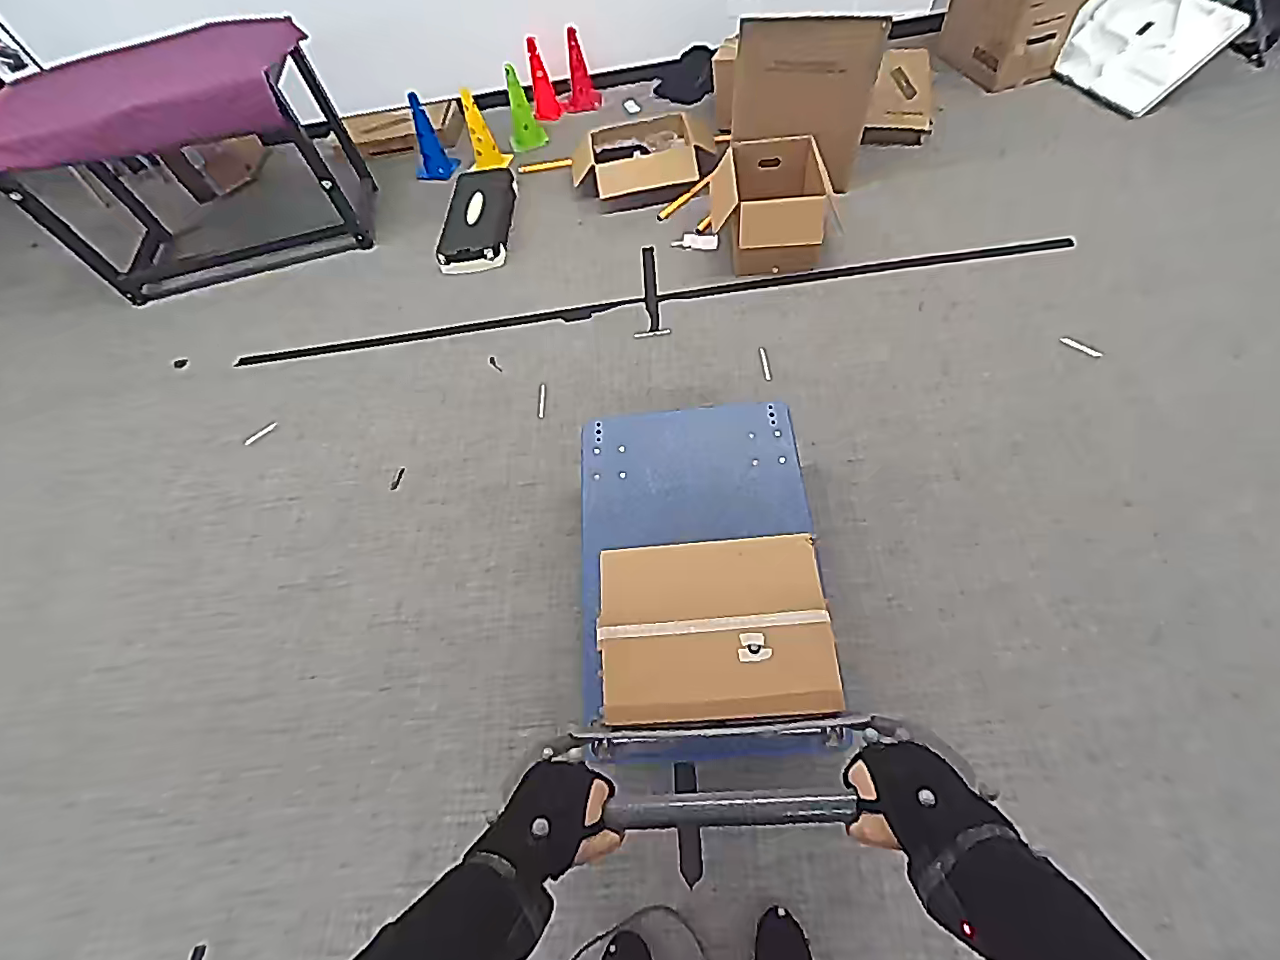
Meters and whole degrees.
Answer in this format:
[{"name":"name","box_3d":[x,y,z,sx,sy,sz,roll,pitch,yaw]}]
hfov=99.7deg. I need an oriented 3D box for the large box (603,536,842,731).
[{"name":"large box","box_3d":[0.147,0.331,1.116,0.408,0.320,0.320,-6,65,3]}]
